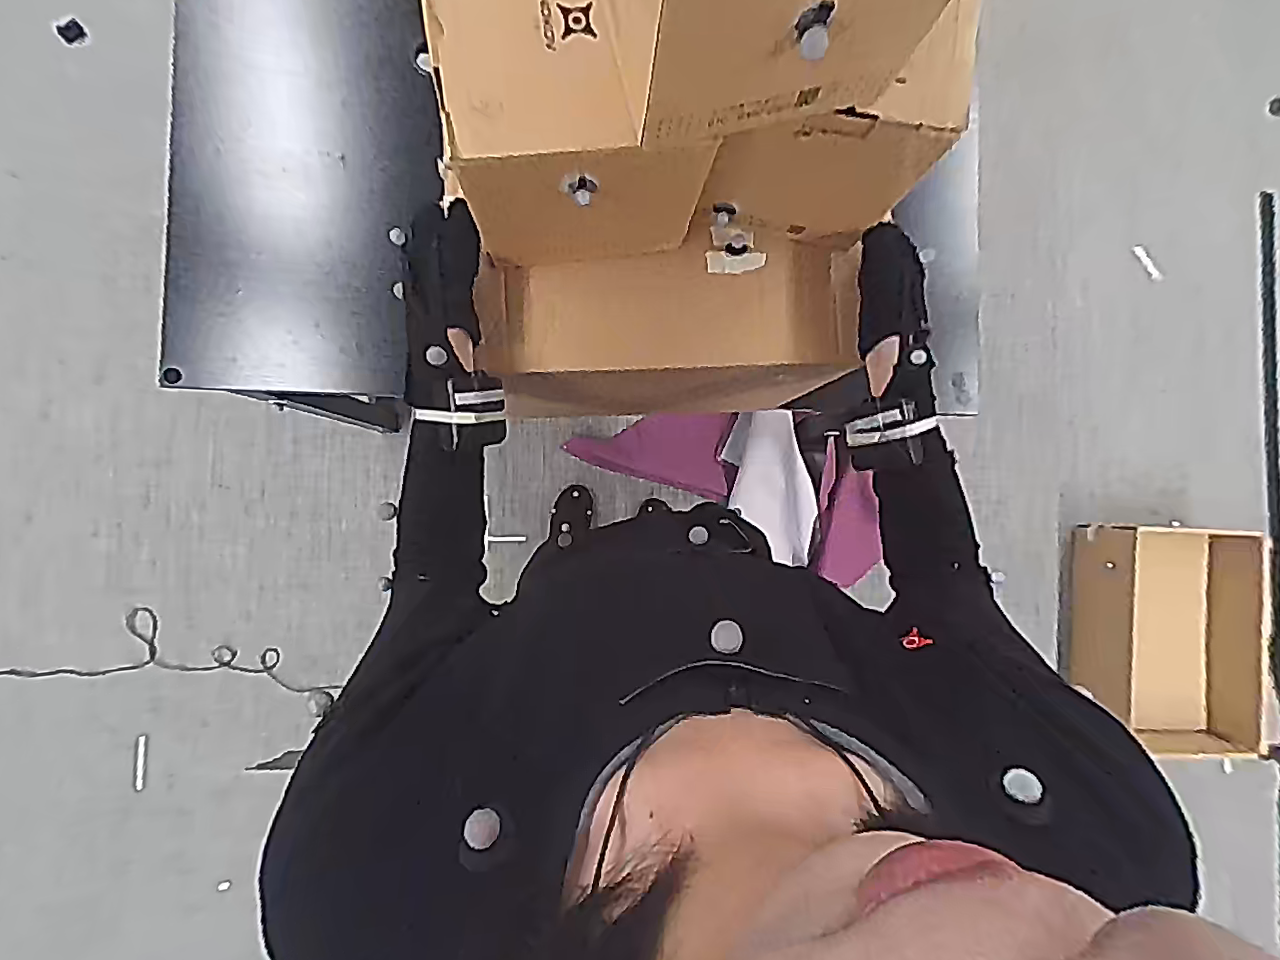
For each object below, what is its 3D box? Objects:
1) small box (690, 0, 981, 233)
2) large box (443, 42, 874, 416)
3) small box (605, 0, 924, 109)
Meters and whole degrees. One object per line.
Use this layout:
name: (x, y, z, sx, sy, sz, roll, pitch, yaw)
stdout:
small box: (0.139, -0.328, 0.433, 0.168, 0.176, 0.179, 8, 86, -4)
large box: (0.008, -0.264, 0.665, 0.408, 0.320, 0.320, -4, 89, -6)
small box: (0.064, -0.320, 0.263, 0.168, 0.176, 0.179, -16, 90, -5)
